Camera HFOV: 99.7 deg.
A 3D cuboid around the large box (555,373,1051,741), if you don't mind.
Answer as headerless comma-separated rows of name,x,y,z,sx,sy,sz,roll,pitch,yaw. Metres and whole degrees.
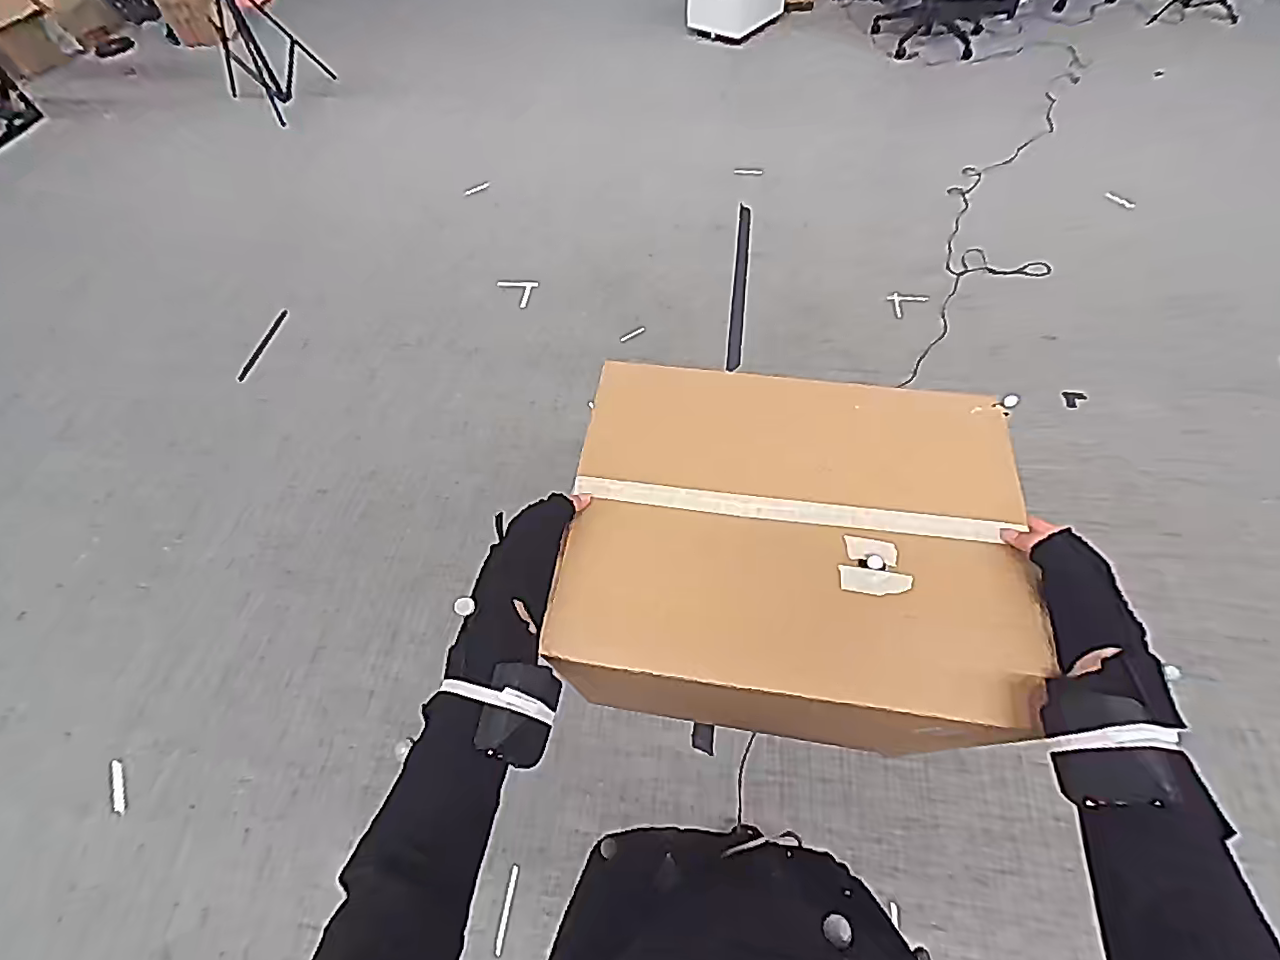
large box,0.145,0.104,0.634,0.408,0.320,0.320,6,62,5
